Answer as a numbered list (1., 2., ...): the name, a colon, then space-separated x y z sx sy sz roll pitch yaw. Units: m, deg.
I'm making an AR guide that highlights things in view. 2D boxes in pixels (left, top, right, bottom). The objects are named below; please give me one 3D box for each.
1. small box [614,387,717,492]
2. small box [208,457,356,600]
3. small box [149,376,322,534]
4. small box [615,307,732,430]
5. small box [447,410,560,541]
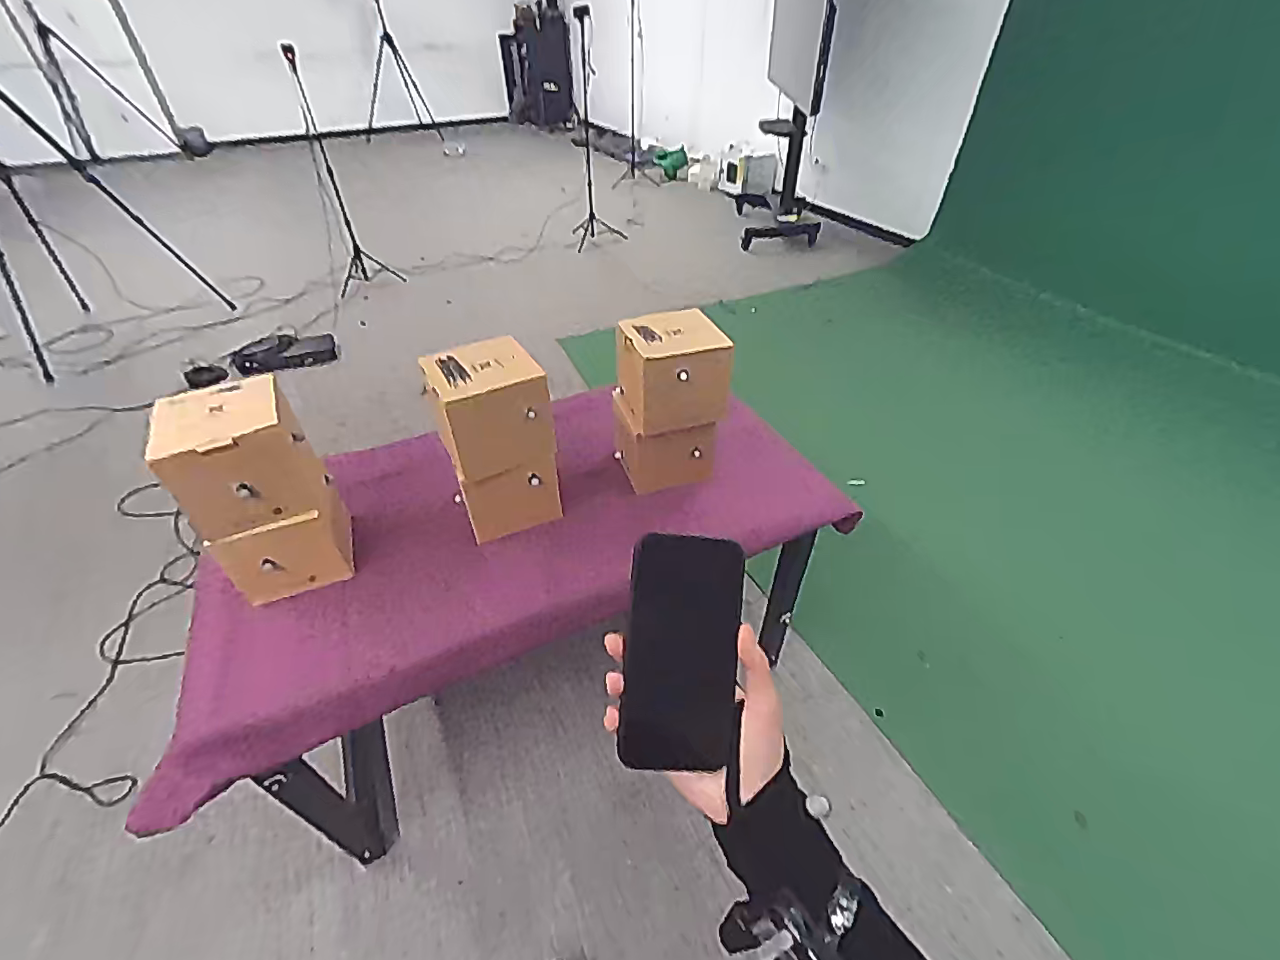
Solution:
1. small box: 0.050 -0.100 1.168 0.179 0.176 0.168 -14 42 -13
2. small box: -0.627 0.093 0.970 0.168 0.176 0.179 -17 44 -17
3. small box: -0.634 -0.035 0.867 0.168 0.176 0.179 -21 46 -21
4. small box: 0.061 -0.215 1.052 0.179 0.176 0.168 -13 42 -14
5. small box: -0.265 -0.010 1.073 0.179 0.176 0.168 -18 44 -18
